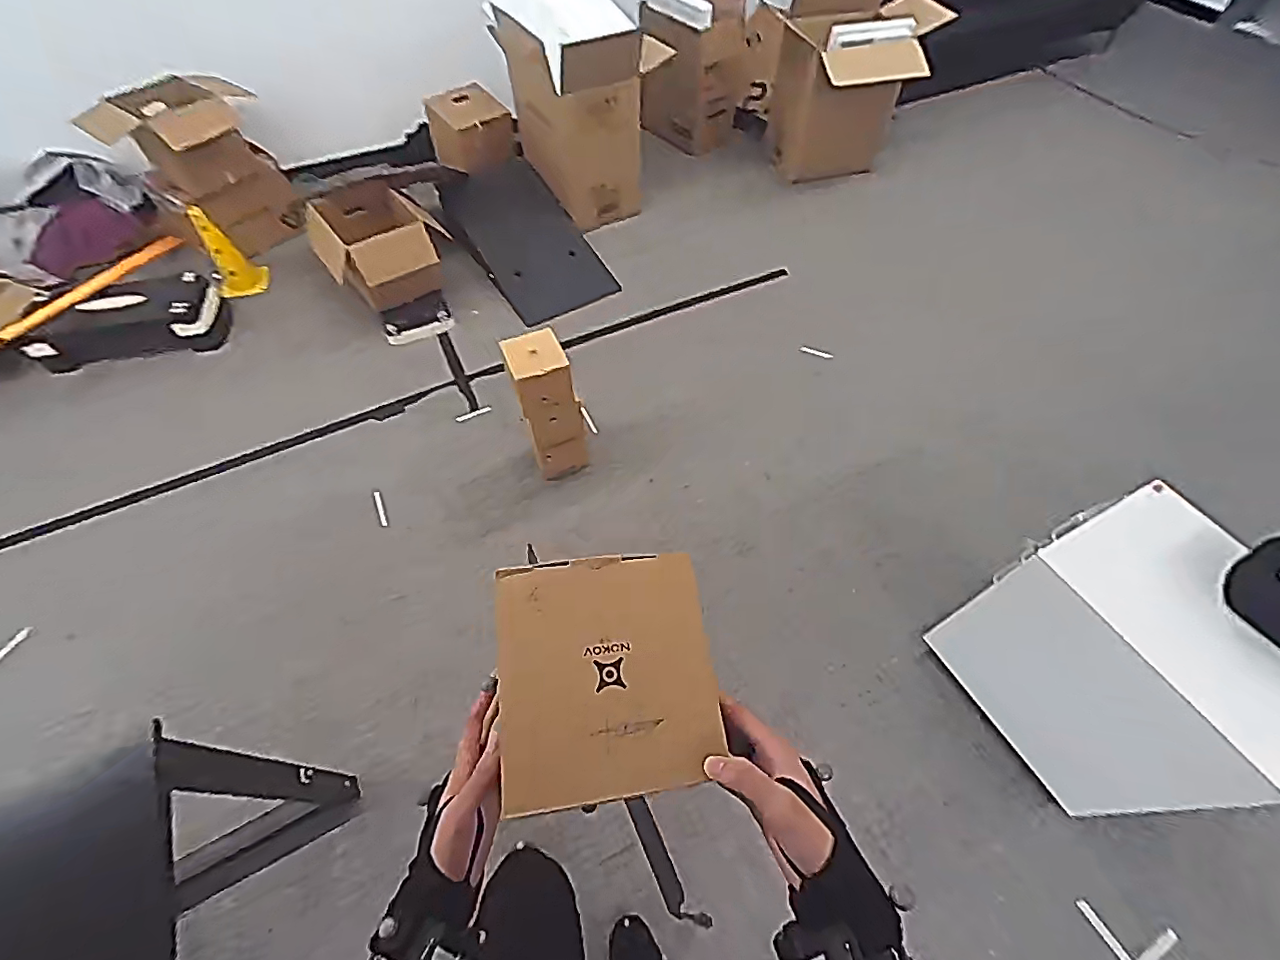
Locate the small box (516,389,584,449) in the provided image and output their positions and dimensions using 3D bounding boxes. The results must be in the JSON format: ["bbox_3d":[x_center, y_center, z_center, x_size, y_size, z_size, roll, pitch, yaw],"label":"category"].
[{"bbox_3d":[-0.295,-0.227,1.780,0.179,0.176,0.168,-22,58,-15],"label":"small box"}]

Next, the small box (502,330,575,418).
[{"bbox_3d":[-0.306,-0.320,1.646,0.168,0.176,0.179,-20,59,-14],"label":"small box"}]

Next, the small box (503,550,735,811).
[{"bbox_3d":[-0.035,0.174,0.477,0.168,0.176,0.179,-2,65,-13],"label":"small box"}]
